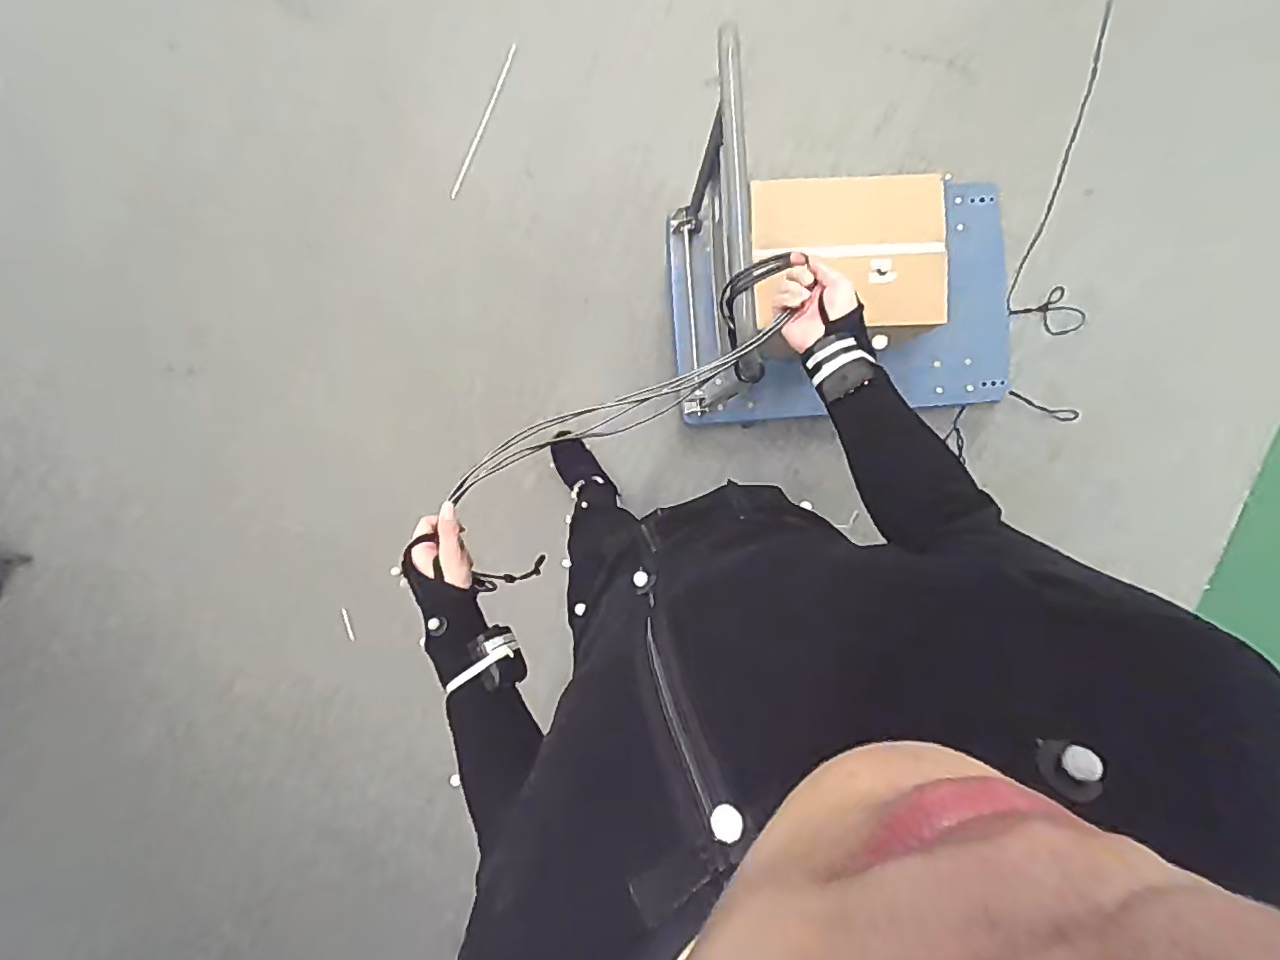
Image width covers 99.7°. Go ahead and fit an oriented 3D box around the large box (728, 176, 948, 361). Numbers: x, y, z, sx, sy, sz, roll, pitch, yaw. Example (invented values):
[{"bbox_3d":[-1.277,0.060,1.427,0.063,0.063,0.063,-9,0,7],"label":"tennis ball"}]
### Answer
[{"bbox_3d":[0.434,-0.470,1.266,0.408,0.320,0.320,-1,91,0],"label":"large box"}]
